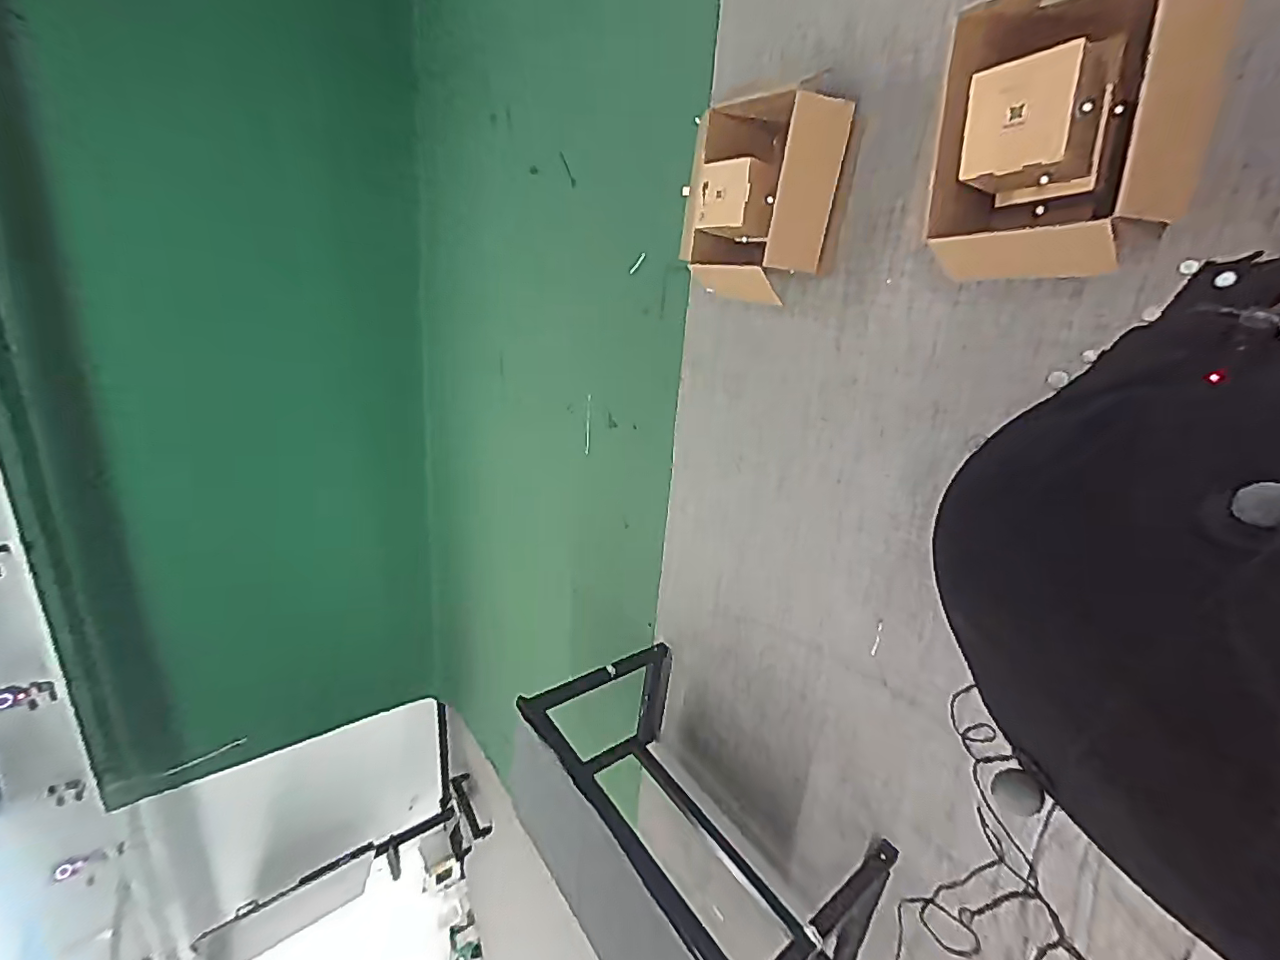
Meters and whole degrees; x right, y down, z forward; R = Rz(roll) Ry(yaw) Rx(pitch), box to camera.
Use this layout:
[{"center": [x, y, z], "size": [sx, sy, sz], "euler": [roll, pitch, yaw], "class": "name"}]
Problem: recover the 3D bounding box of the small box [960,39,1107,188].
[{"center": [0.716, -0.648, 0.986], "size": [0.168, 0.176, 0.179], "euler": [17, 113, 49], "class": "small box"}]
